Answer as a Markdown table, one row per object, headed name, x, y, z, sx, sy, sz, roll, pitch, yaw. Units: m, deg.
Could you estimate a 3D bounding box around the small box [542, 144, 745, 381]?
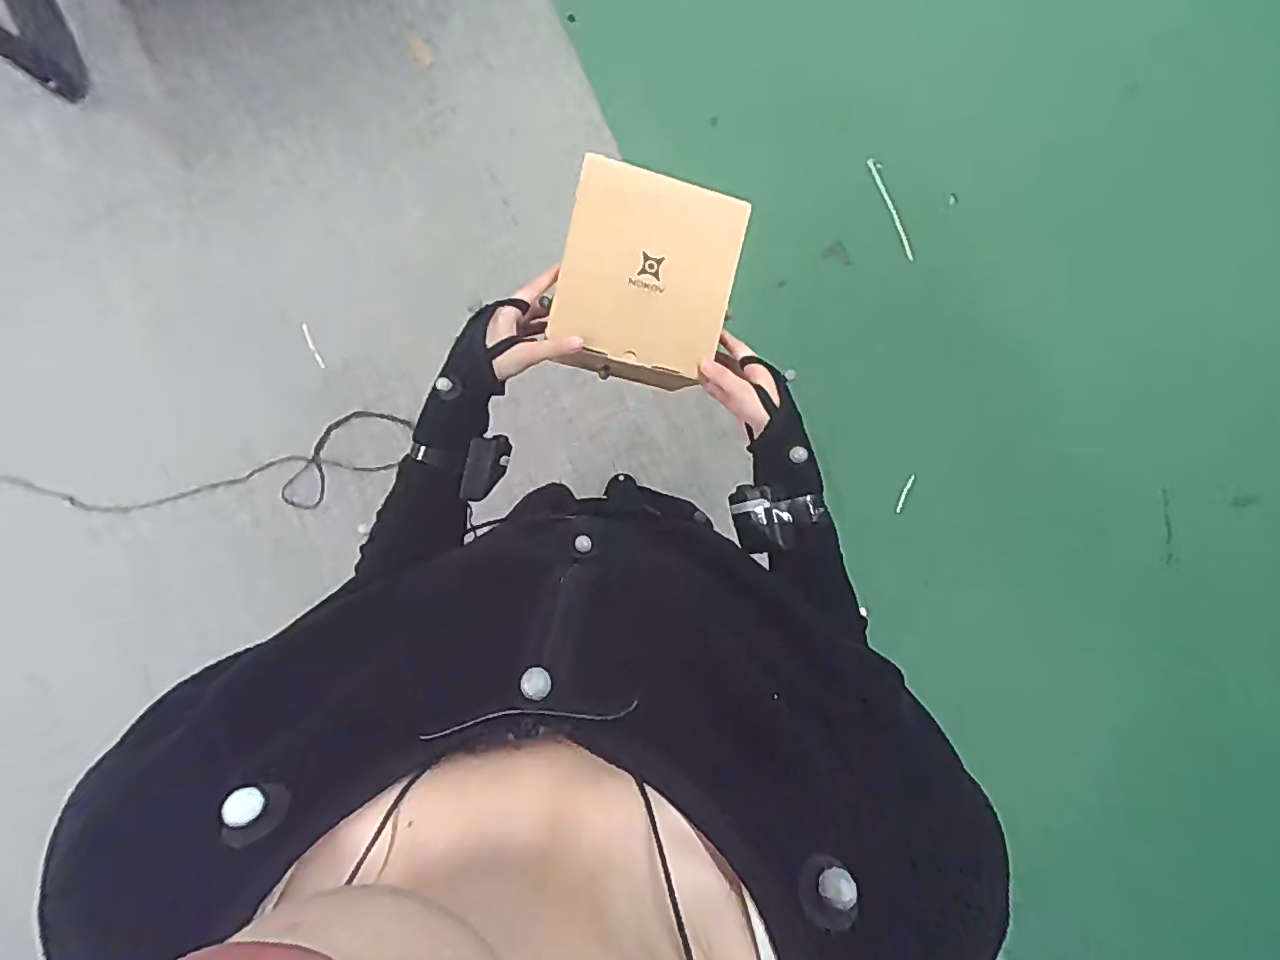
| name | x | y | z | sx | sy | sz | roll | pitch | yaw |
| --- | --- | --- | --- | --- | --- | --- | --- | --- | --- |
| small box | -0.008 | -0.212 | 0.584 | 0.168 | 0.176 | 0.179 | 11 | 96 | -10 |
